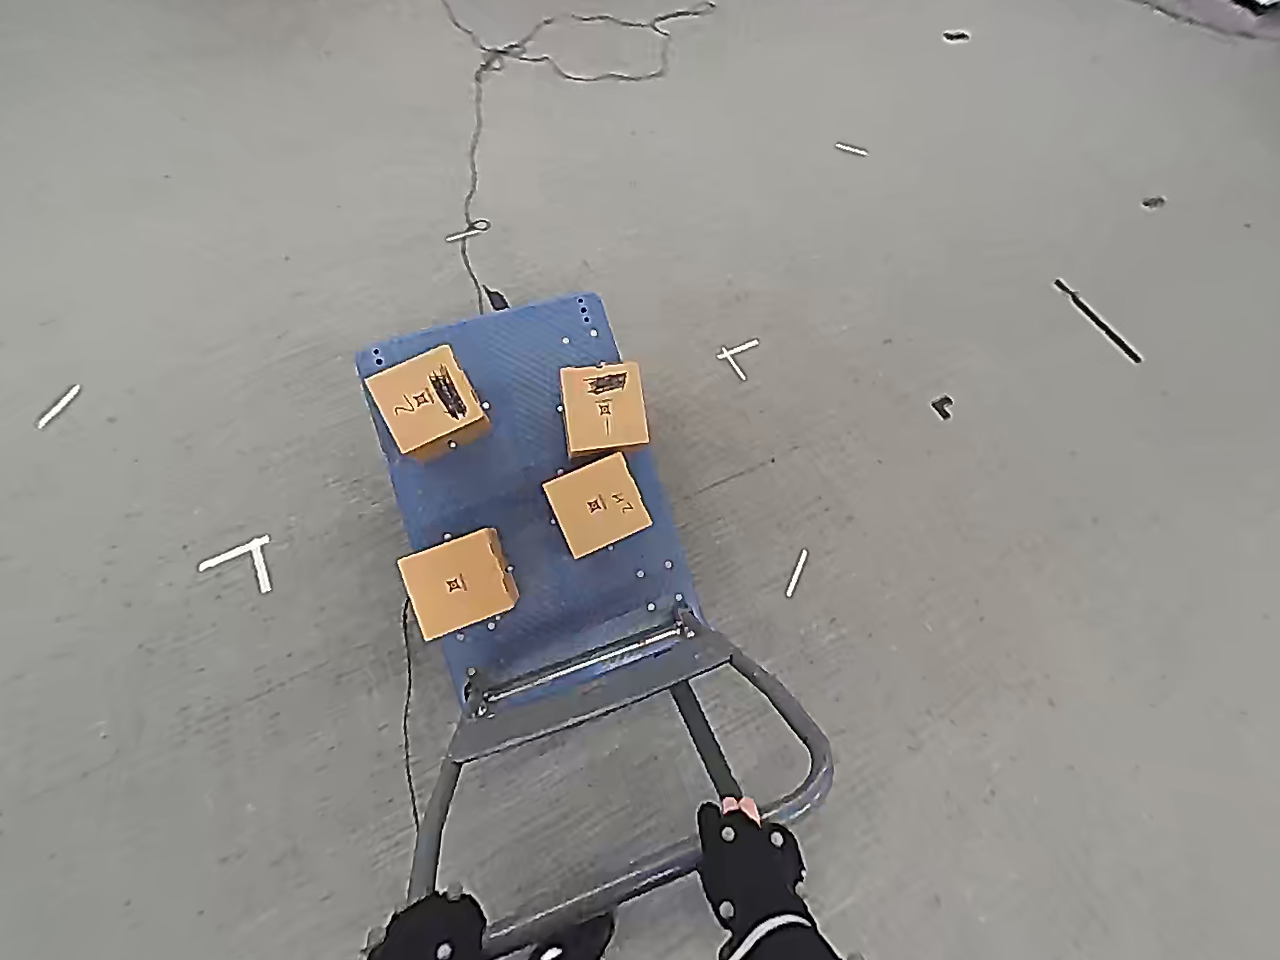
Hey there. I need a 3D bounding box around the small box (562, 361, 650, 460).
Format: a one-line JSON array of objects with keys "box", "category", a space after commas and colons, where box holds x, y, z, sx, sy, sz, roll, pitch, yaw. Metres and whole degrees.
[{"box": [-0.080, -0.147, 1.188, 0.168, 0.176, 0.179, -8, 87, -8], "category": "small box"}]

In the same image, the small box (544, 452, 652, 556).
[{"box": [-0.093, 0.055, 1.169, 0.179, 0.176, 0.168, -24, 89, -9], "category": "small box"}]

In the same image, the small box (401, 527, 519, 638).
[{"box": [-0.362, 0.206, 1.118, 0.179, 0.176, 0.168, -20, 88, -11], "category": "small box"}]
